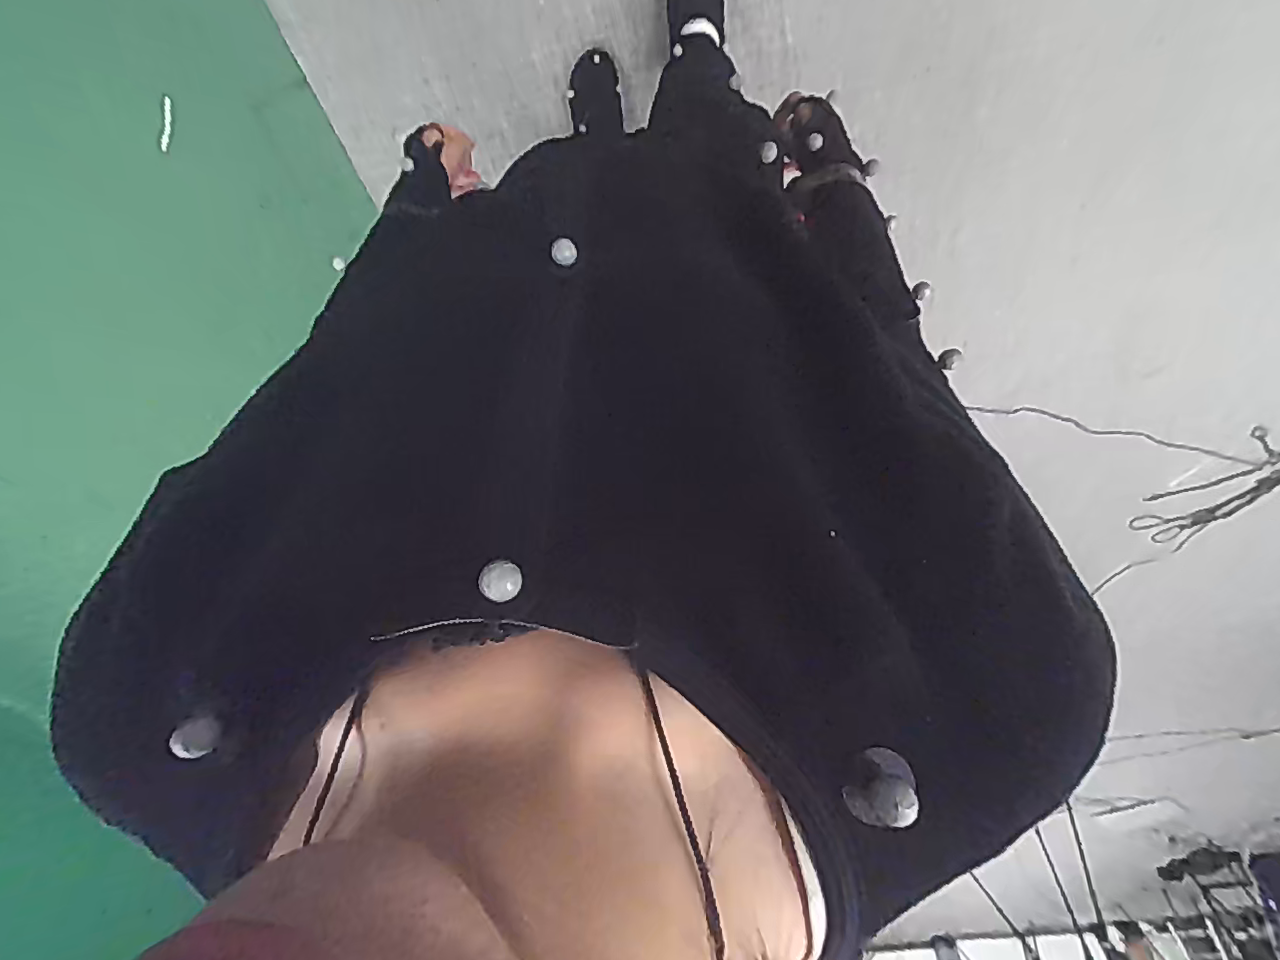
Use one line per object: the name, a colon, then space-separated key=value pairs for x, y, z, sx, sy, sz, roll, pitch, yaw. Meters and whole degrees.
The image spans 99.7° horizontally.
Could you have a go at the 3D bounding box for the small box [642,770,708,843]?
small box: x=0.111 y=1.041 z=1.705 sx=0.179 sy=0.176 sz=0.168 roll=-15 pitch=130 yaw=11

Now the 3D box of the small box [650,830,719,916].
small box: x=0.127 y=1.153 z=1.586 sx=0.179 sy=0.176 sz=0.168 roll=-11 pitch=131 yaw=7
